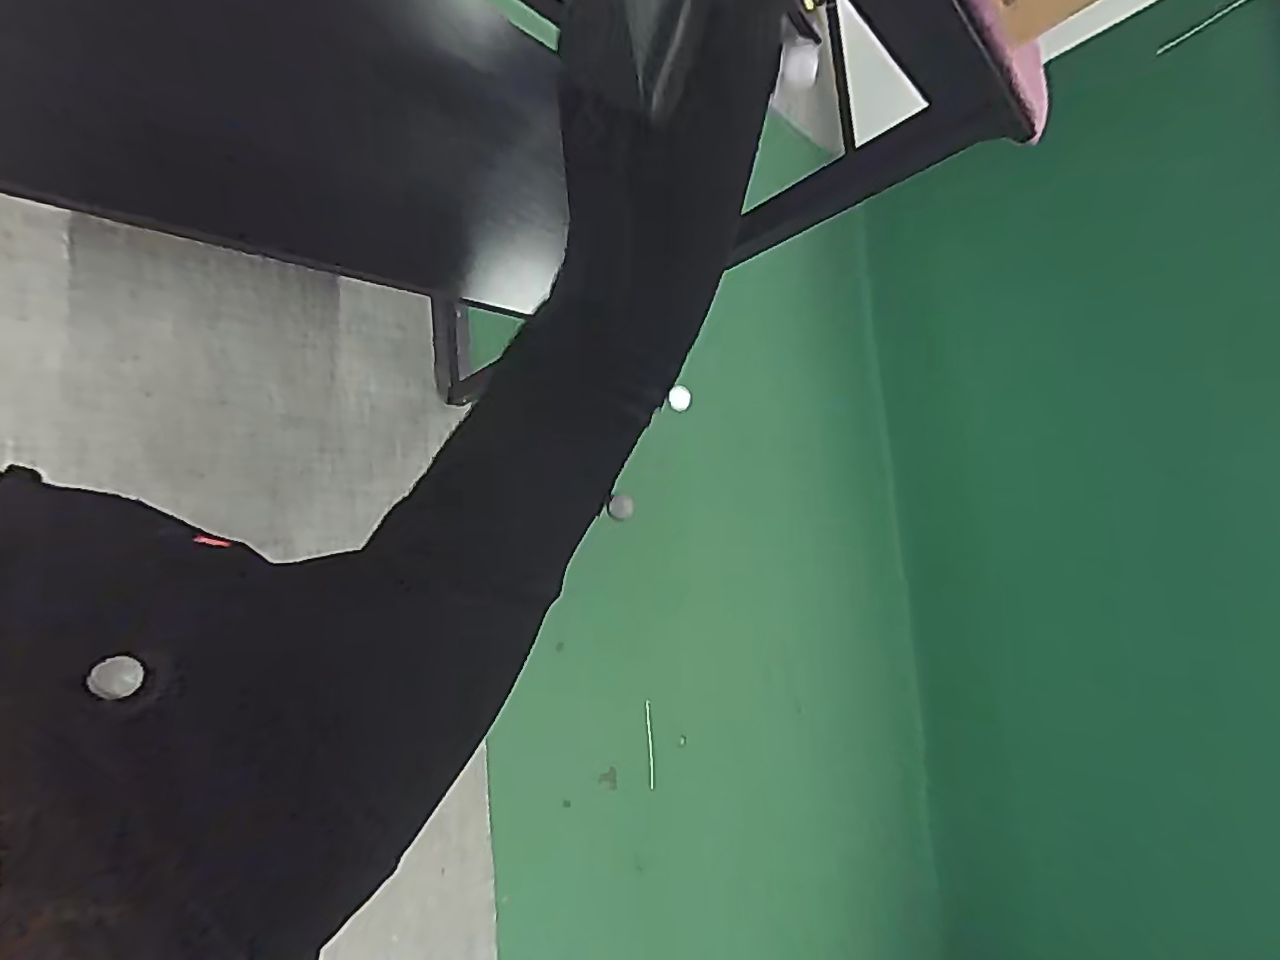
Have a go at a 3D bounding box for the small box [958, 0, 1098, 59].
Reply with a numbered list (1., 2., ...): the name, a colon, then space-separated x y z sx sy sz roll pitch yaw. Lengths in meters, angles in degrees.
1. small box: 0.369 -0.544 0.478 0.168 0.176 0.179 14 75 -41
